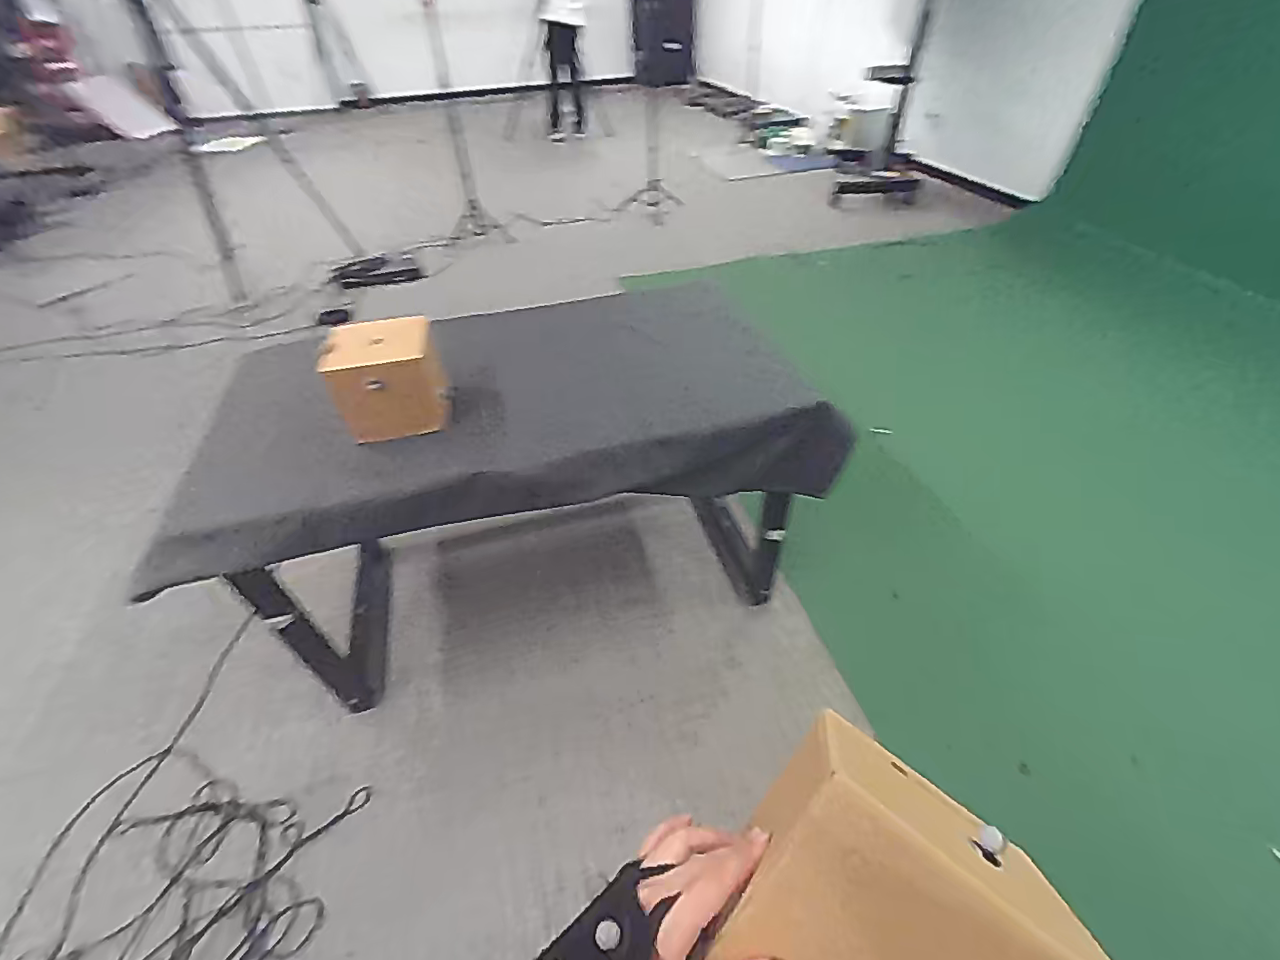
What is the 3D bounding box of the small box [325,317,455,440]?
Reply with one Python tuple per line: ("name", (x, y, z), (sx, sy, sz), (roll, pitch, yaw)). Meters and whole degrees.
("small box", (-0.473, -0.194, 1.050), (0.179, 0.176, 0.168), (-10, 45, -9))
